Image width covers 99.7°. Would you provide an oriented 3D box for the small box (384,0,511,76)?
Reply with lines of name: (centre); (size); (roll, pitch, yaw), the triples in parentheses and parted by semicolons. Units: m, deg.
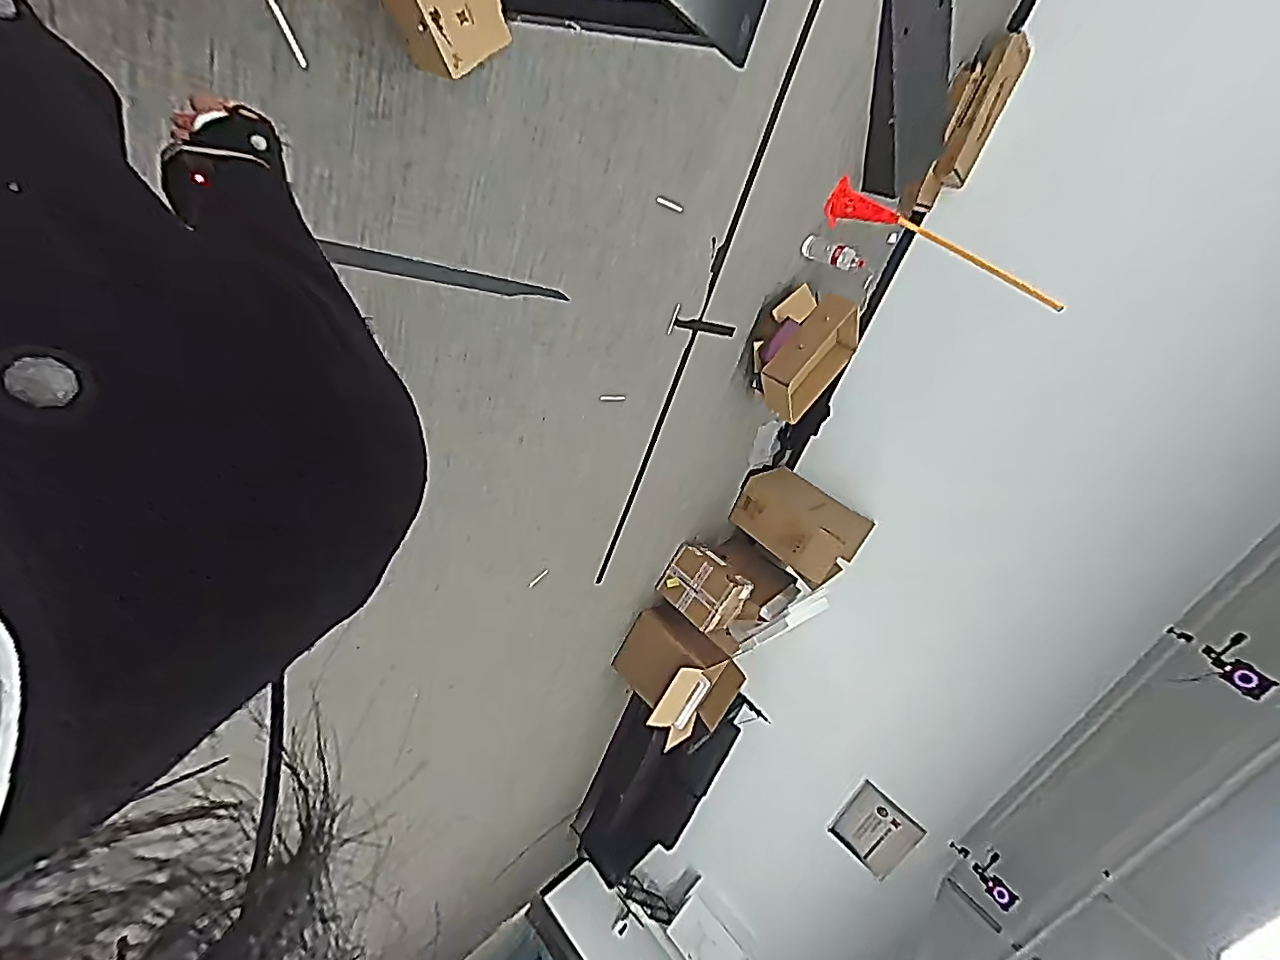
small box: (-0.421, -1.018, 1.165); (0.179, 0.176, 0.168); (-46, 148, -12)
